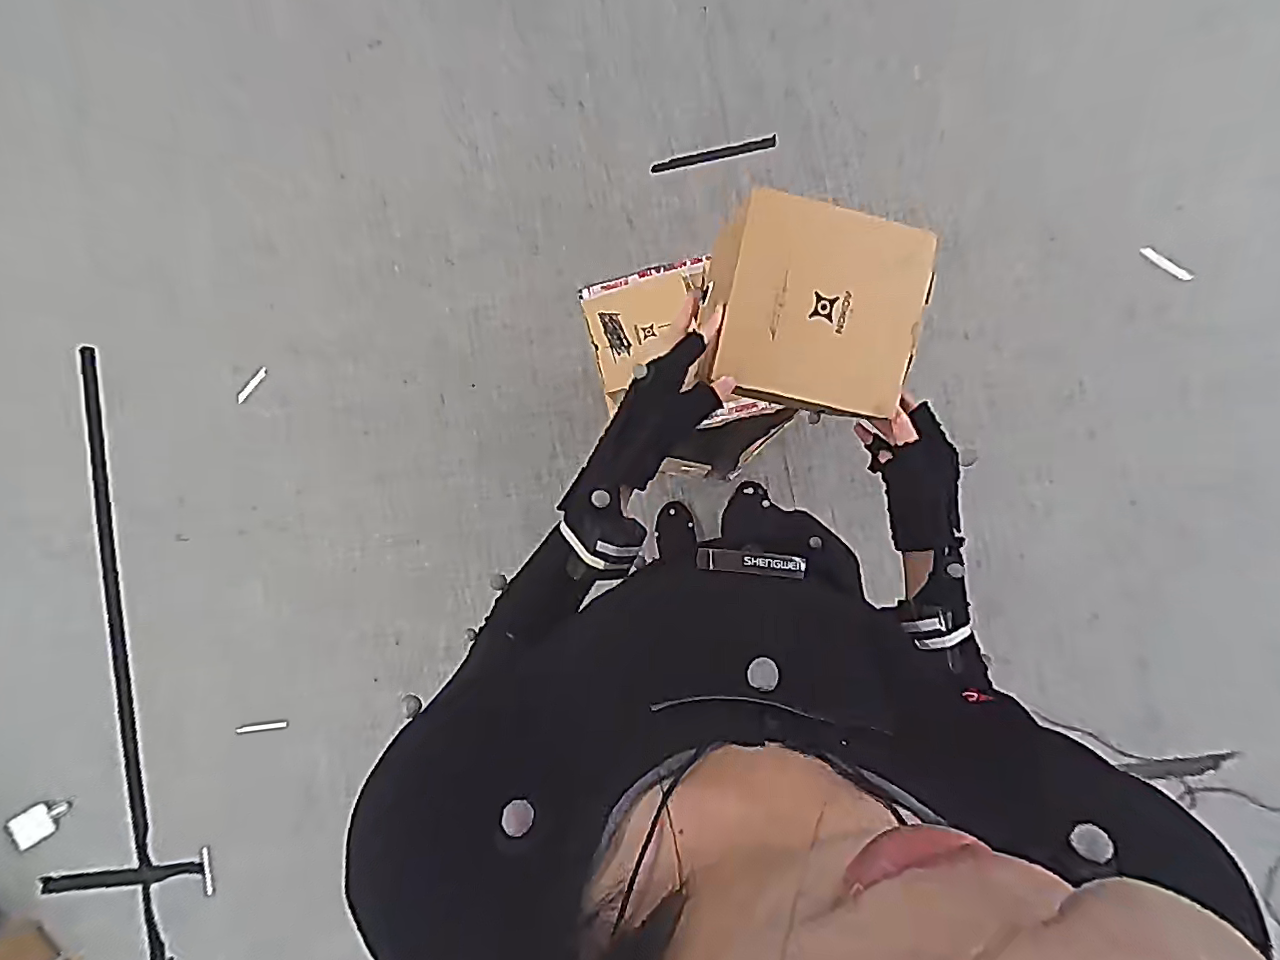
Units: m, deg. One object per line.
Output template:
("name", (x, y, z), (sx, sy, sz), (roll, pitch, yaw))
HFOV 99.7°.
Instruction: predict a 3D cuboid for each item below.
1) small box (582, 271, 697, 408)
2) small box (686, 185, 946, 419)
("small box", (0.015, -0.239, 0.968), (0.179, 0.176, 0.168), (-16, 85, 5))
("small box", (0.156, -0.162, 0.542), (0.179, 0.176, 0.168), (10, 97, -5))
